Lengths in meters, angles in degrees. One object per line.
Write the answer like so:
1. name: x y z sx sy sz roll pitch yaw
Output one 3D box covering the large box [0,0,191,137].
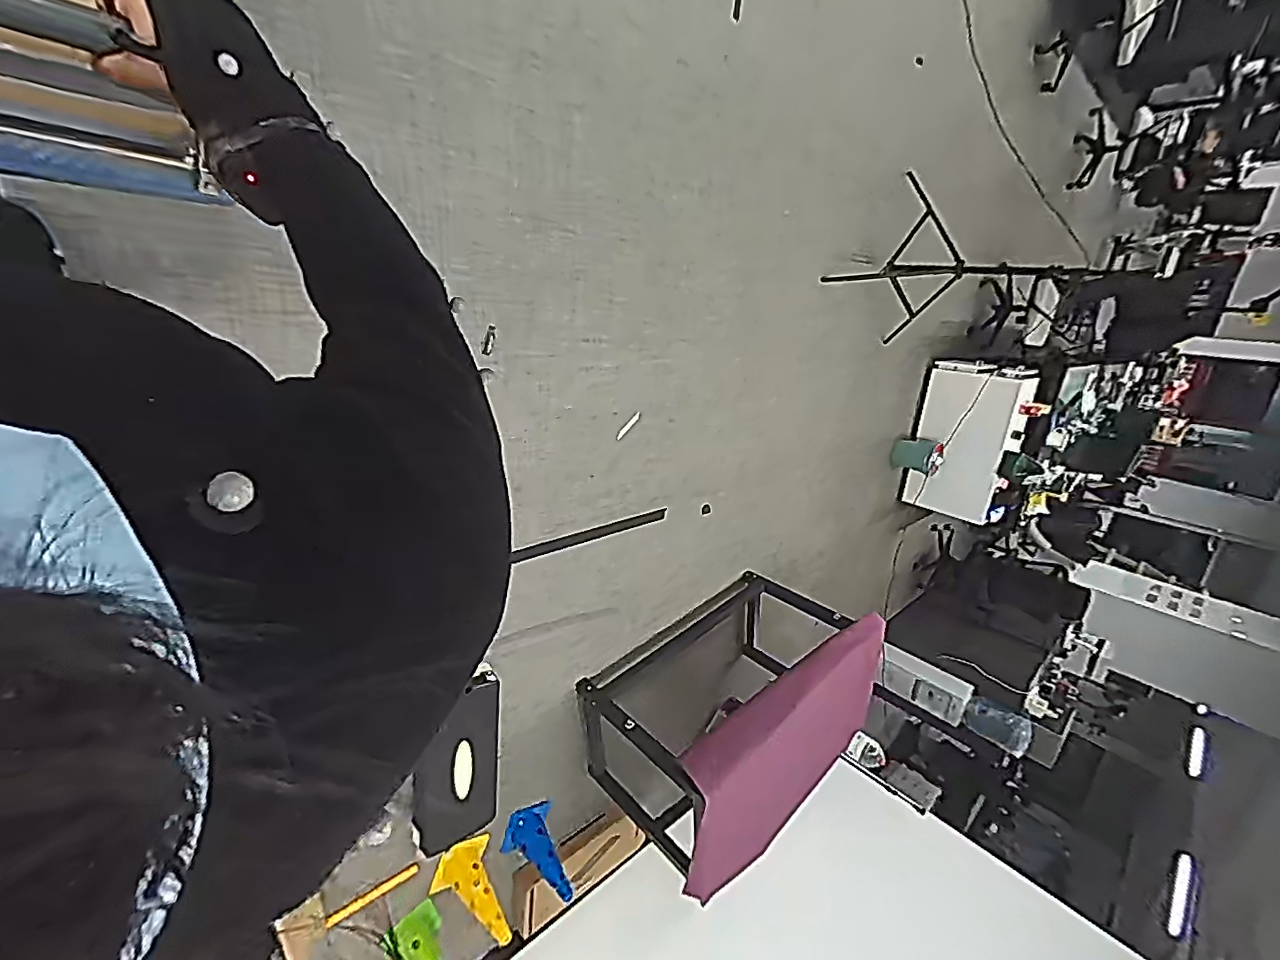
1. large box: -0.816 -0.649 0.628 0.408 0.320 0.320 -10 113 -43
